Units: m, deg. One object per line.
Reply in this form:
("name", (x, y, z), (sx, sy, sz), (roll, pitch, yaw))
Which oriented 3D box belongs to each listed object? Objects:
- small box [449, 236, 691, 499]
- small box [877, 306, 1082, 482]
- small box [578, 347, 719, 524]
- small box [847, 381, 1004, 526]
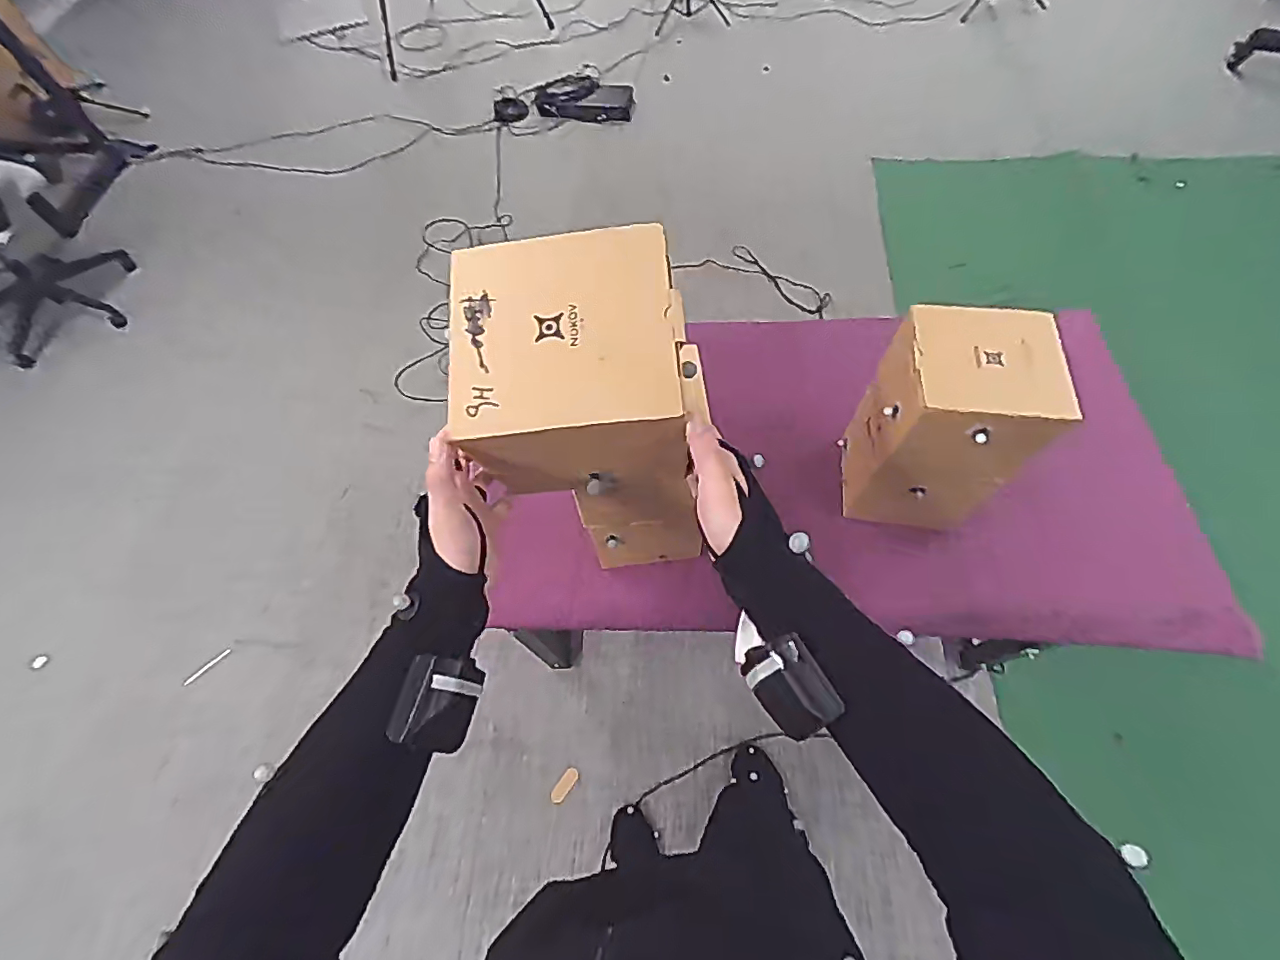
("small box", (-0.050, -0.085, 0.482), (0.179, 0.176, 0.168), (-5, 74, 3))
("small box", (0.431, -0.109, 0.726), (0.179, 0.176, 0.168), (6, 64, 6))
("small box", (0.001, -0.053, 0.722), (0.179, 0.176, 0.168), (-6, 61, 0))
("small box", (0.442, -0.036, 0.872), (0.179, 0.176, 0.168), (7, 63, 6))
